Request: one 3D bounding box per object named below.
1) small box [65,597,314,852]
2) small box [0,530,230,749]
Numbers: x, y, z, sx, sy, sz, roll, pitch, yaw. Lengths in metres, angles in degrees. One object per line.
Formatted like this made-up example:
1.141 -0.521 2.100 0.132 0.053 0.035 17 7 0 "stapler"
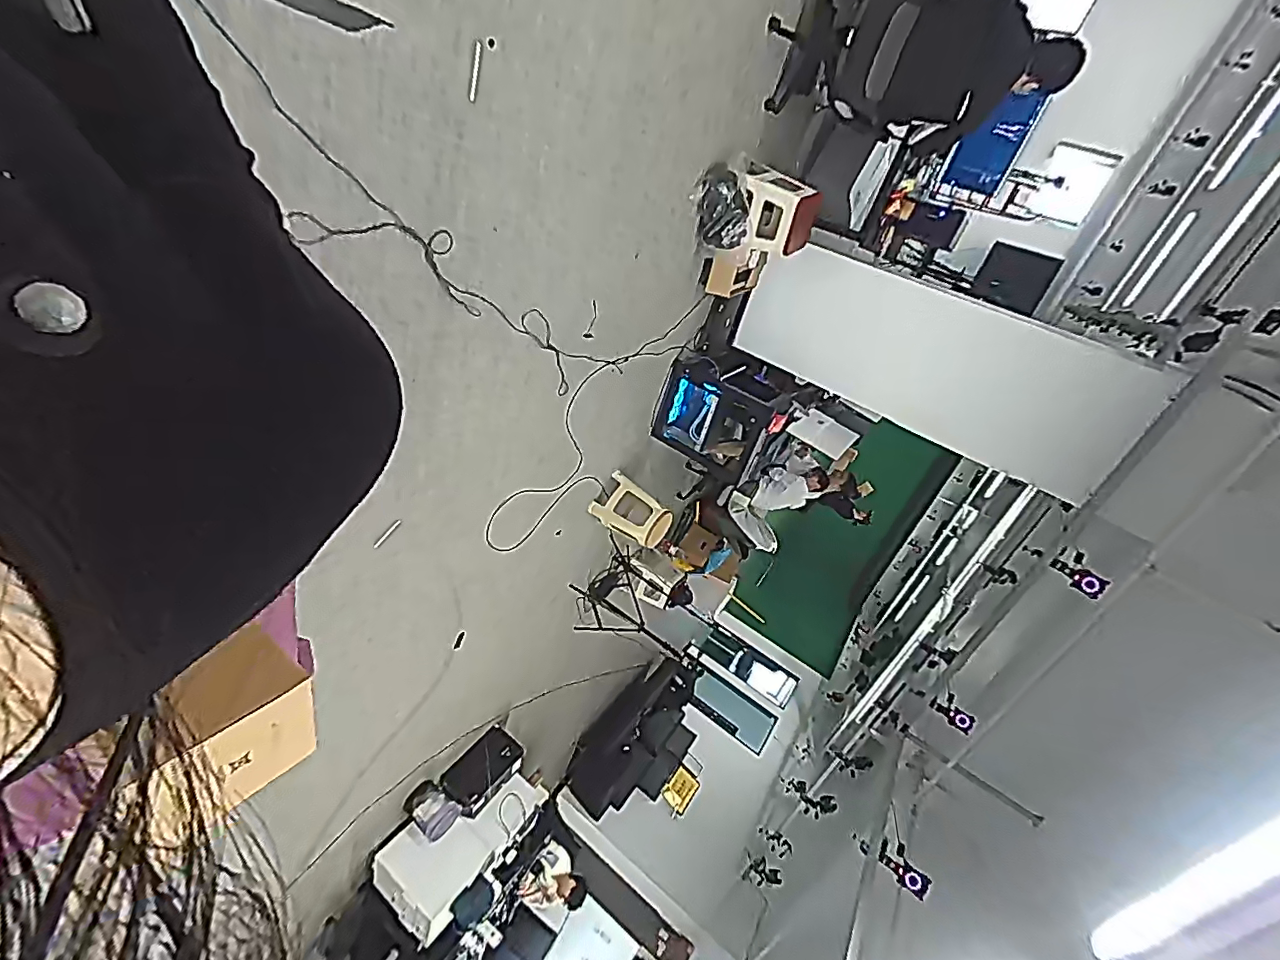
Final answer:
-0.526 0.277 0.643 0.179 0.176 0.168 -33 150 -51 "small box"
-0.656 0.197 0.698 0.168 0.176 0.179 -31 146 -52 "small box"
